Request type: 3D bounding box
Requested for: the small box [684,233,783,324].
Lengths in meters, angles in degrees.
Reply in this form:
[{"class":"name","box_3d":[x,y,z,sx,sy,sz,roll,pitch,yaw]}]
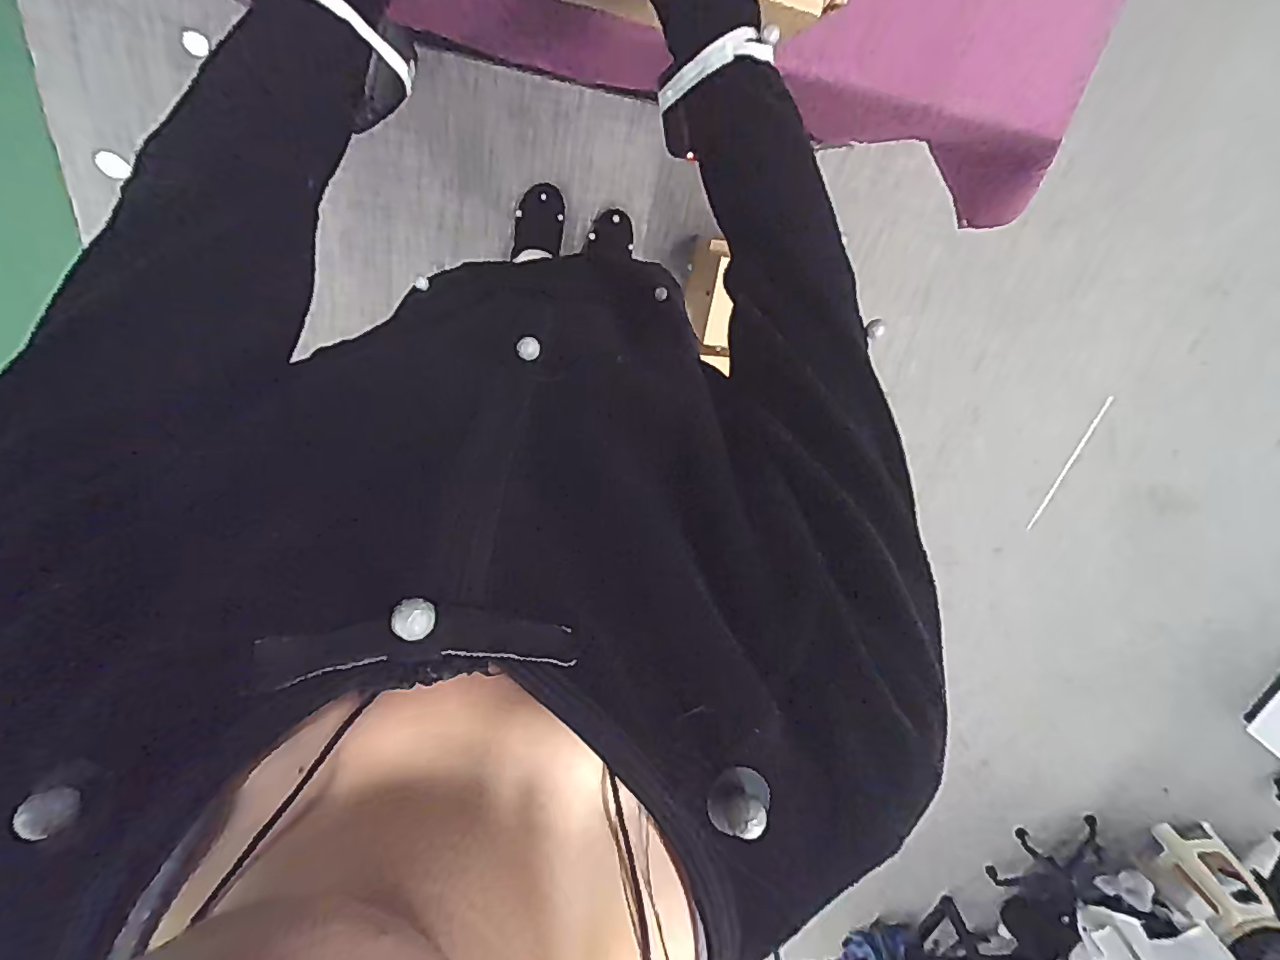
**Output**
[{"class":"small box","box_3d":[0.216,-0.491,1.304,0.179,0.176,0.168,7,118,-9]}]
